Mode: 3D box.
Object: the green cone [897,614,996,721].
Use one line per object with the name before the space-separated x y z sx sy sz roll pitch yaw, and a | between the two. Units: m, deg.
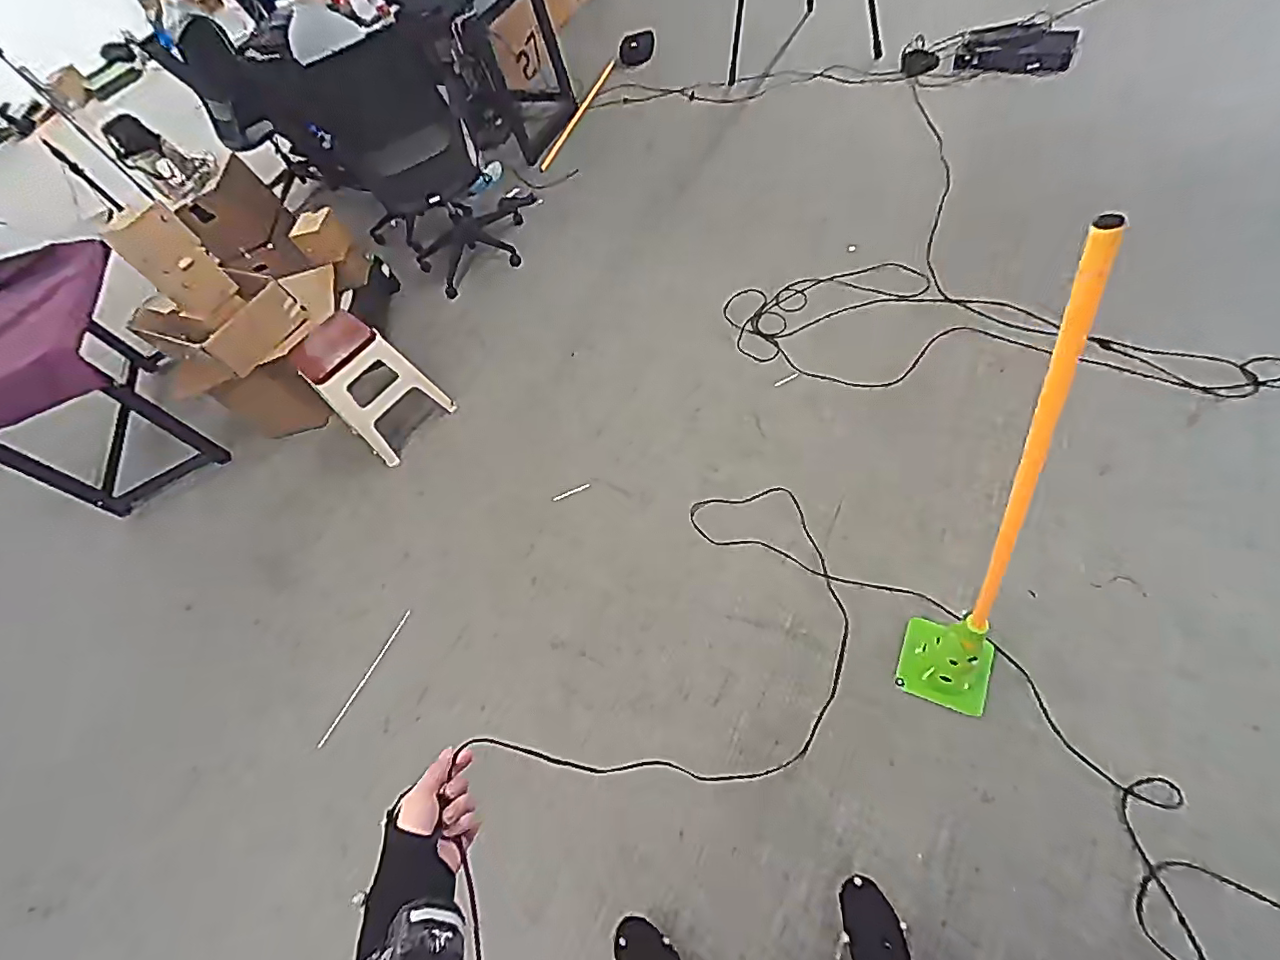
green cone | 0.731 0.386 1.224 0.200 0.368 0.202 15 64 25
